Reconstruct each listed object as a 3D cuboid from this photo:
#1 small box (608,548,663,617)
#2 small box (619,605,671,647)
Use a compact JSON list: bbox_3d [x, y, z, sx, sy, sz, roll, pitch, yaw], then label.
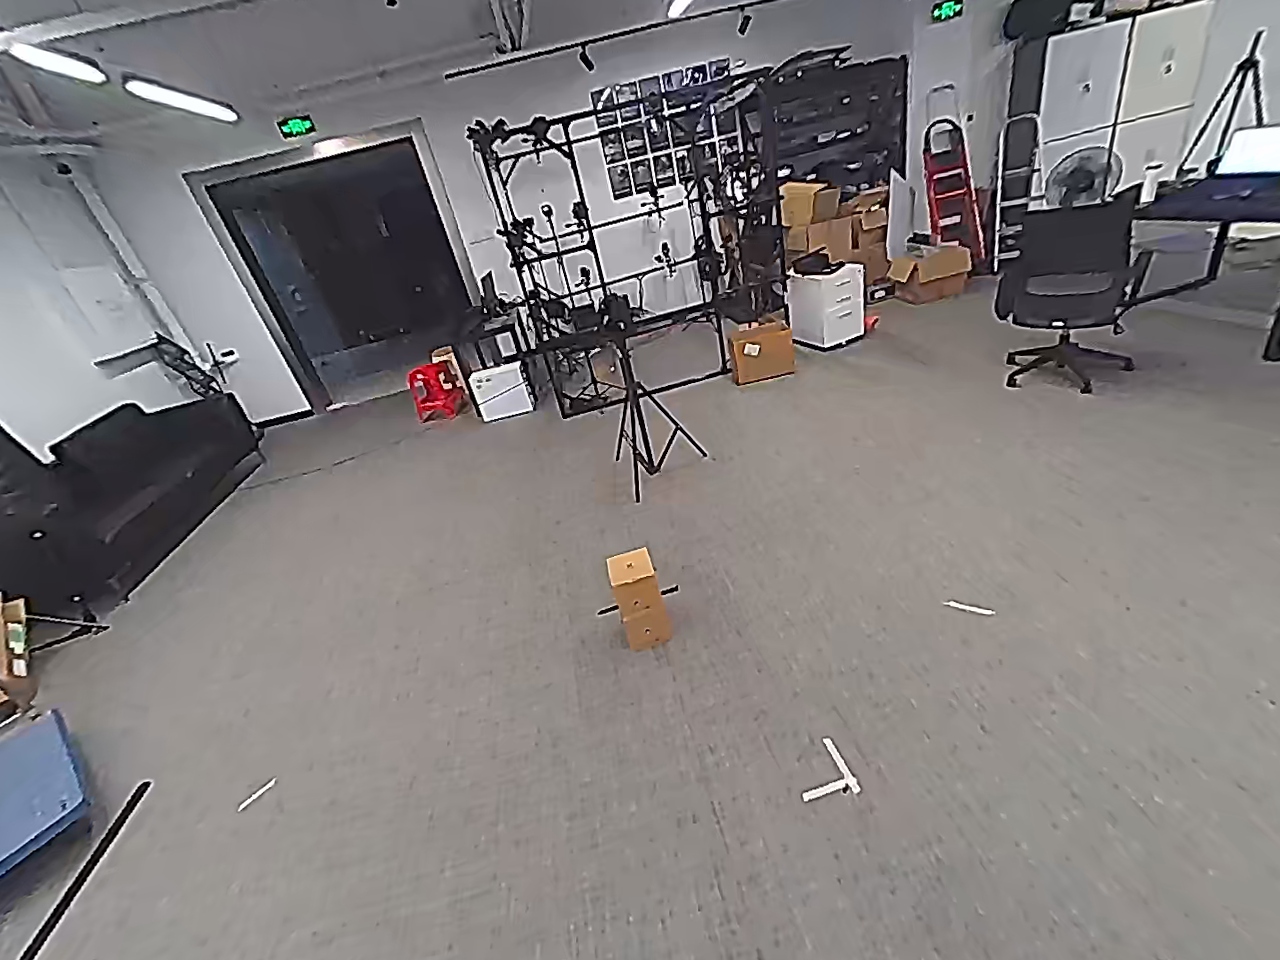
[{"bbox_3d":[-0.019,0.391,2.069,0.168,0.176,0.179,-16,29,-3],"label":"small box"},{"bbox_3d":[0.015,0.535,2.138,0.168,0.176,0.179,-17,28,-5],"label":"small box"}]
